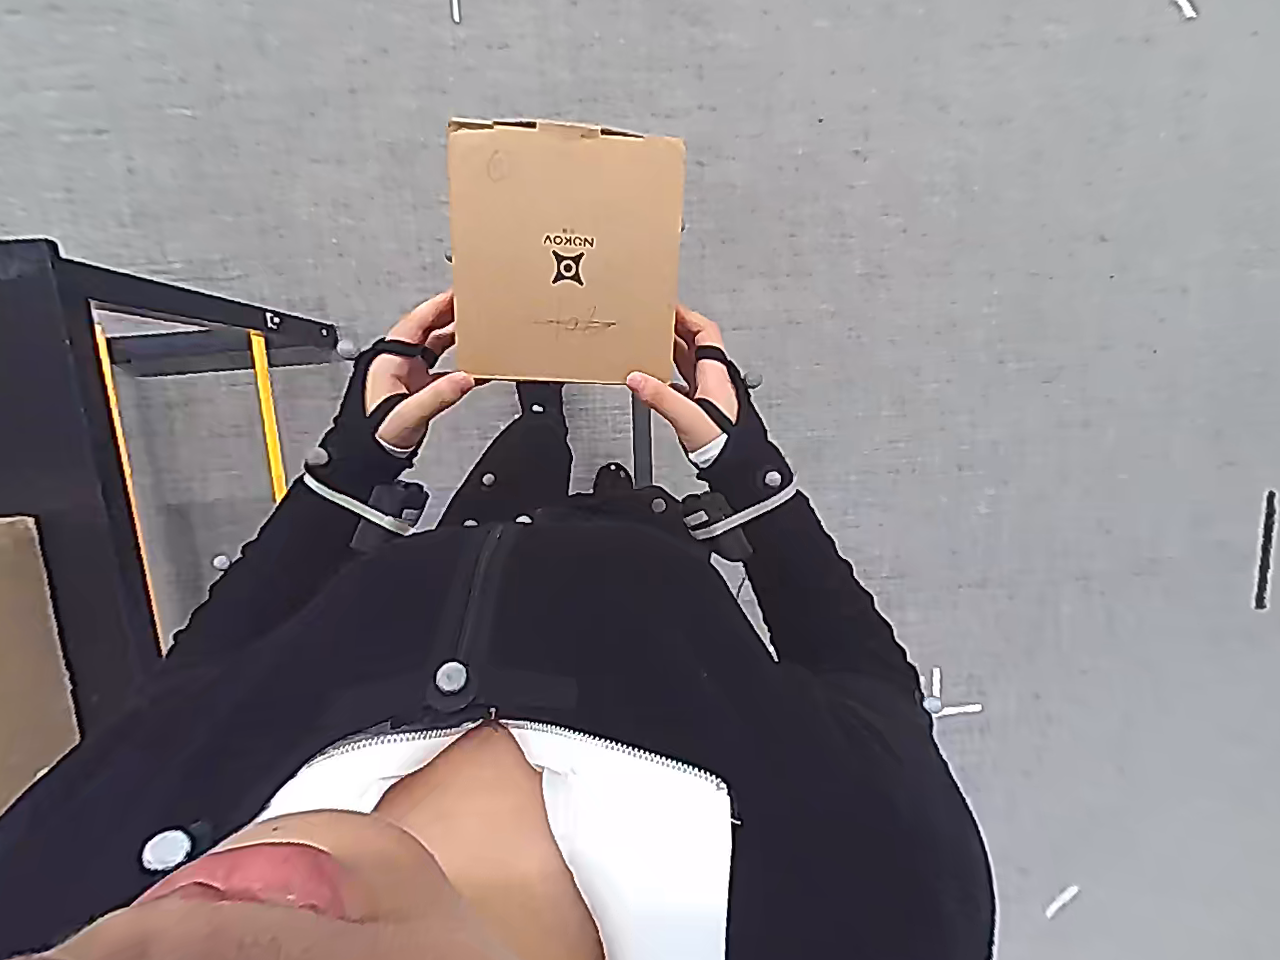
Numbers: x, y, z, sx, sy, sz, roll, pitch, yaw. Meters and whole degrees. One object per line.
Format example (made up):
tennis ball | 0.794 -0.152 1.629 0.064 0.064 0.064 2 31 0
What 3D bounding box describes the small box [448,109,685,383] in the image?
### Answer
small box | -0.062 -0.182 0.467 0.168 0.176 0.179 1 106 -6
